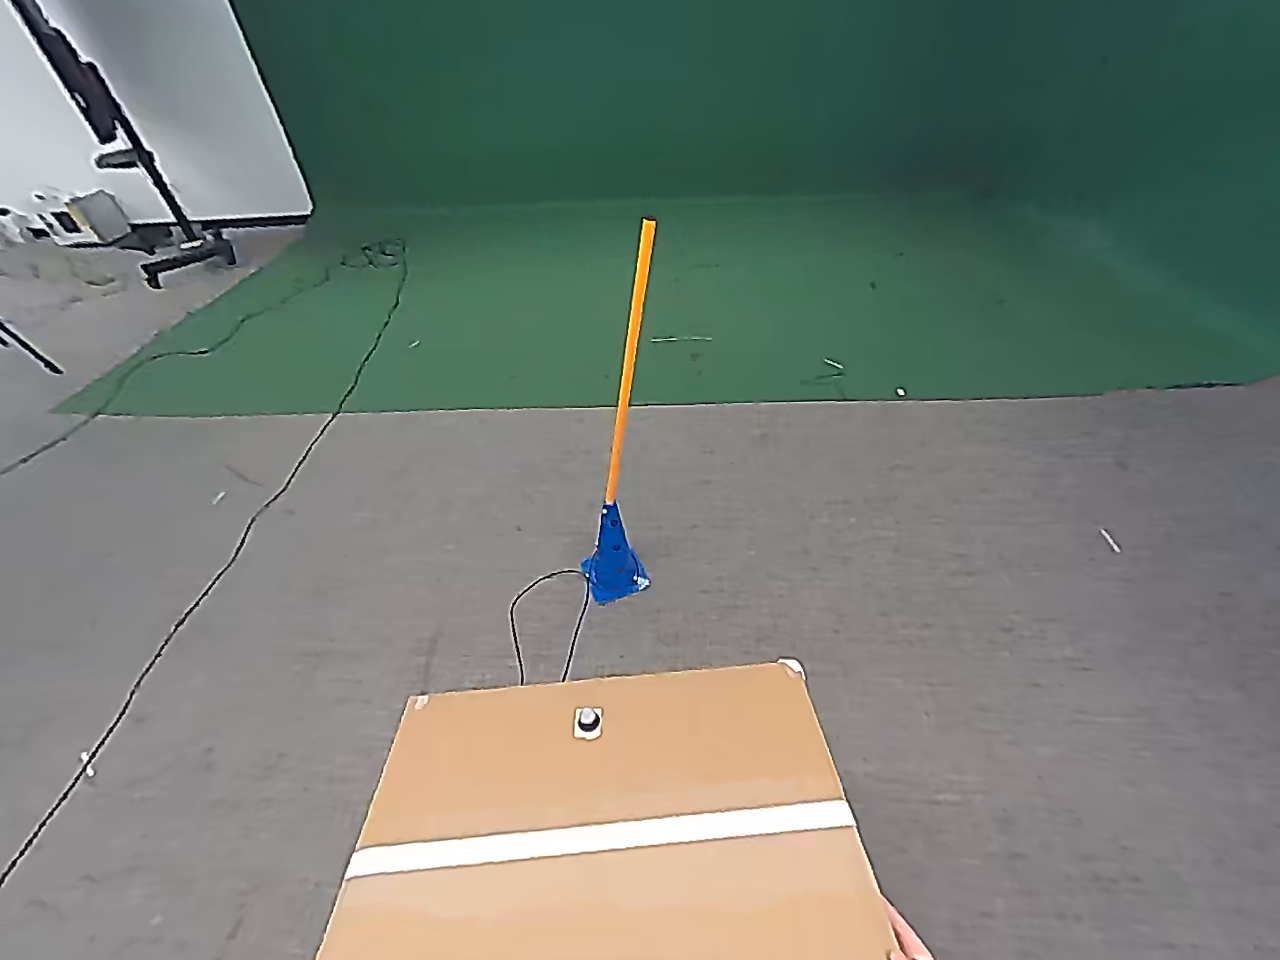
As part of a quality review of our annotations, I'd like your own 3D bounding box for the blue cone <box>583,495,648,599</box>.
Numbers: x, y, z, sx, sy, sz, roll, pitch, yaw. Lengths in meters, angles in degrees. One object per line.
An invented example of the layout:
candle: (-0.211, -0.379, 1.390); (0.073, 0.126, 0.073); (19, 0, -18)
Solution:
blue cone: (-0.087, 0.190, 1.758); (0.193, 0.380, 0.192); (-17, 45, -19)
